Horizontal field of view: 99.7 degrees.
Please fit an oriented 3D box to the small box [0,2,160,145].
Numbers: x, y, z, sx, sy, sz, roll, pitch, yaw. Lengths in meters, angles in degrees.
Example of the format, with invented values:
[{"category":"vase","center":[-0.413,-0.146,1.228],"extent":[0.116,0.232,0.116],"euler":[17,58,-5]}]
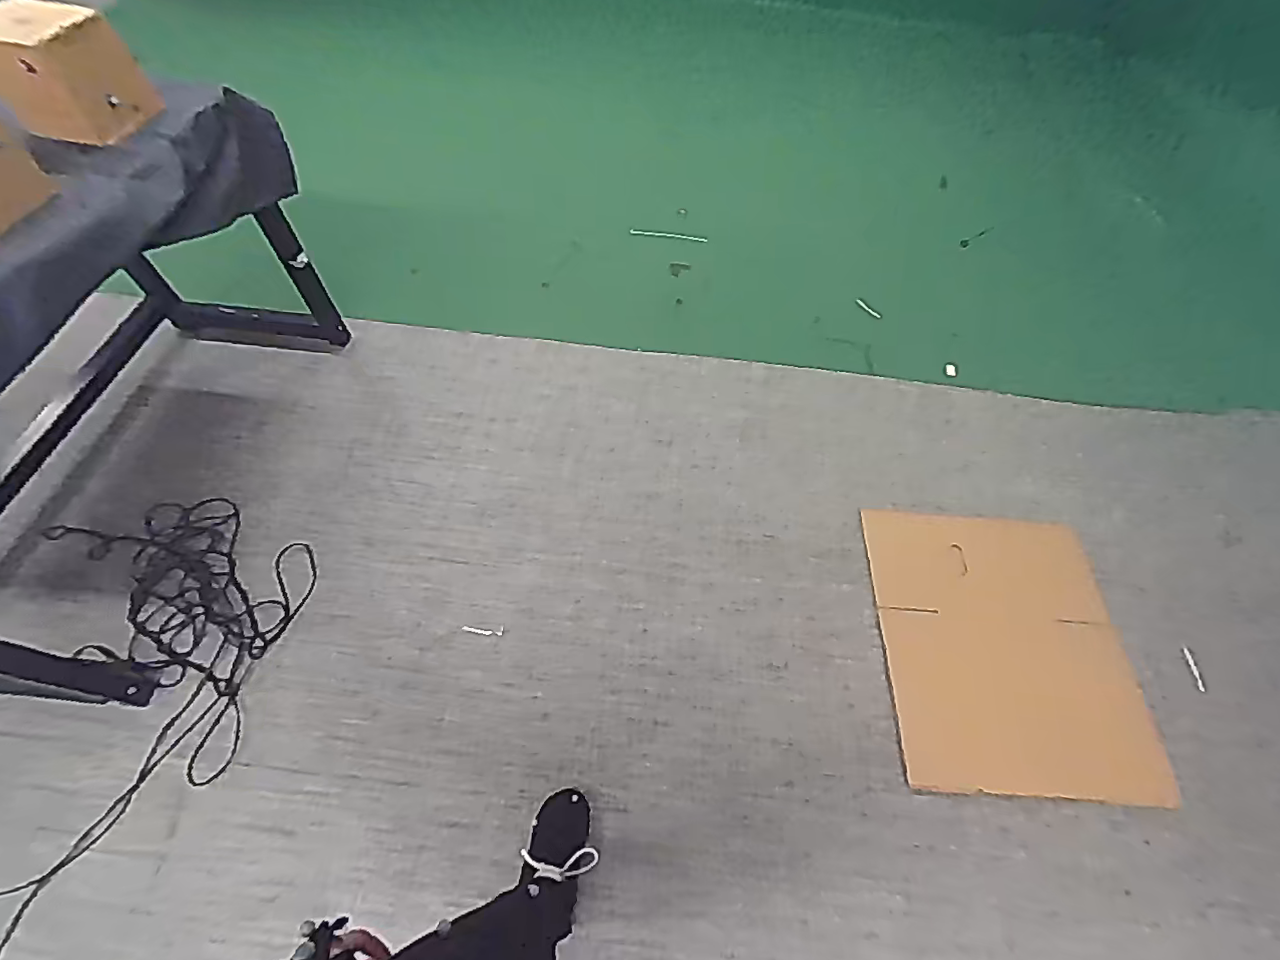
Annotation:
[{"category":"small box","center":[-1.099,-0.772,1.034],"extent":[0.179,0.176,0.168],"euler":[10,59,3]}]
